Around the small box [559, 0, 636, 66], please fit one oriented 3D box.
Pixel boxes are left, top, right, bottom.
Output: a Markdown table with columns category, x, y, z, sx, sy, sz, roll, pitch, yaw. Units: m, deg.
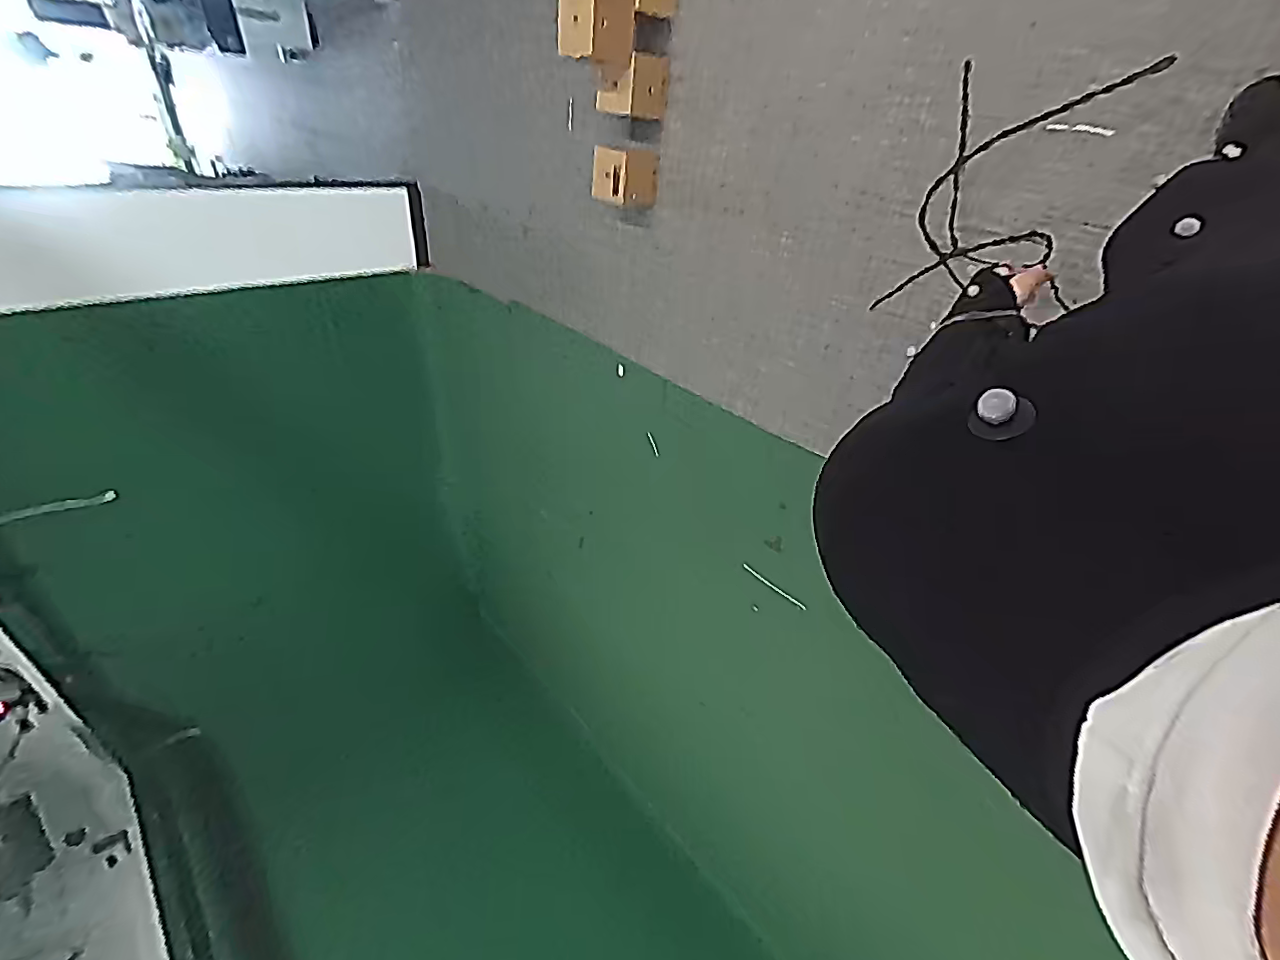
| category | x | y | z | sx | sy | sz | roll | pitch | yaw |
| --- | --- | --- | --- | --- | --- | --- | --- | --- | --- |
| small box | -0.130 | -1.391 | 1.660 | 0.168 | 0.176 | 0.179 | 32 | 129 | 34 |

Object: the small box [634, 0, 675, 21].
| category | x | y | z | sx | sy | sz | roll | pitch | yaw |
| --- | --- | --- | --- | --- | --- | --- | --- | --- | --- |
| small box | 0.005 | -1.553 | 1.683 | 0.179 | 0.176 | 0.168 | 34 | 133 | 33 |
